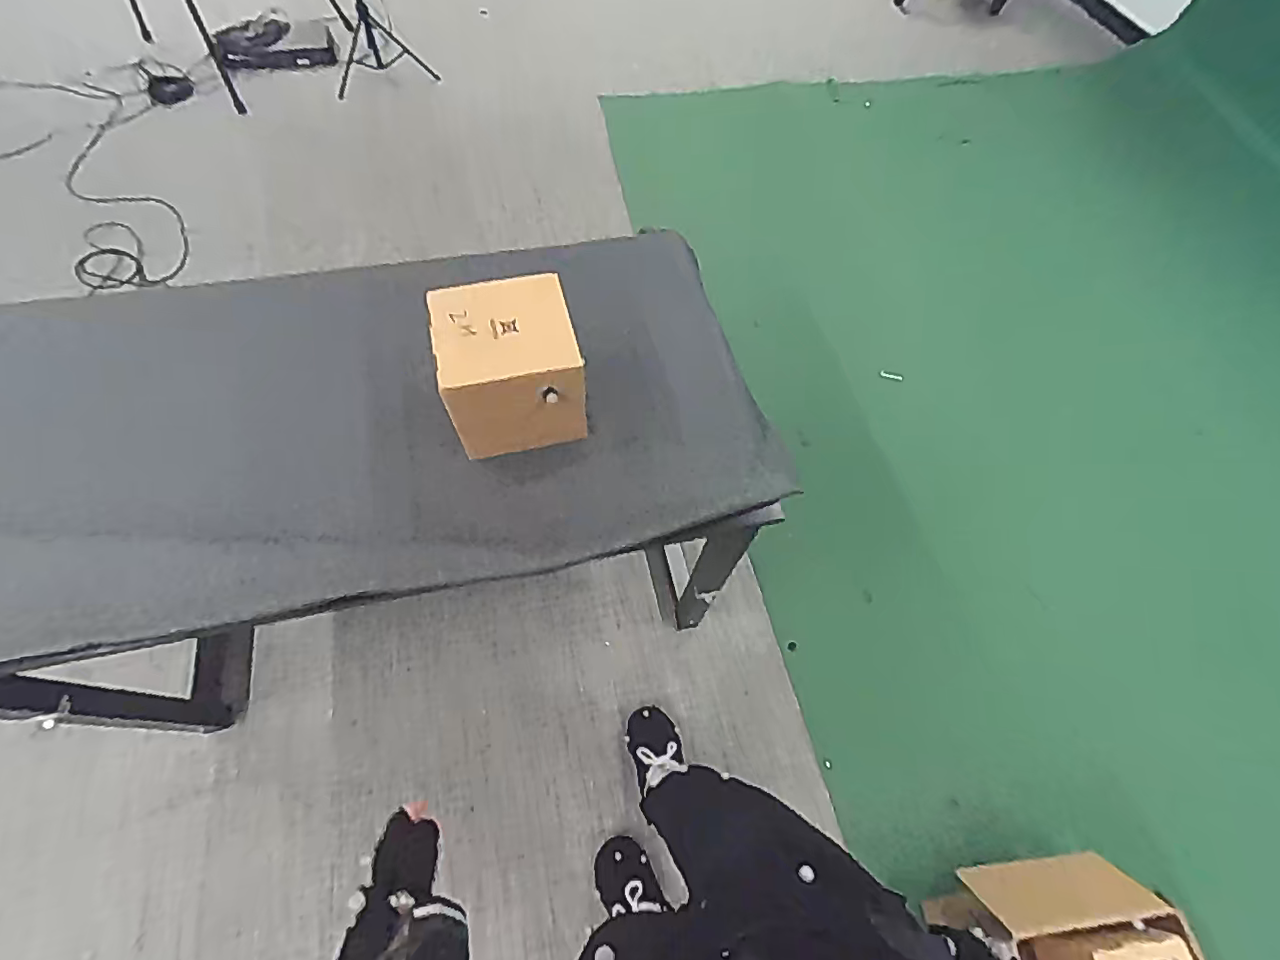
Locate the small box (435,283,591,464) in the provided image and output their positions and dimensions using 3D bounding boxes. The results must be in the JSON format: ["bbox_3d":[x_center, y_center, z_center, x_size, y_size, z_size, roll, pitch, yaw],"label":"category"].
[{"bbox_3d":[-0.169,-0.143,0.756,0.179,0.176,0.168,-12,63,-9],"label":"small box"}]
